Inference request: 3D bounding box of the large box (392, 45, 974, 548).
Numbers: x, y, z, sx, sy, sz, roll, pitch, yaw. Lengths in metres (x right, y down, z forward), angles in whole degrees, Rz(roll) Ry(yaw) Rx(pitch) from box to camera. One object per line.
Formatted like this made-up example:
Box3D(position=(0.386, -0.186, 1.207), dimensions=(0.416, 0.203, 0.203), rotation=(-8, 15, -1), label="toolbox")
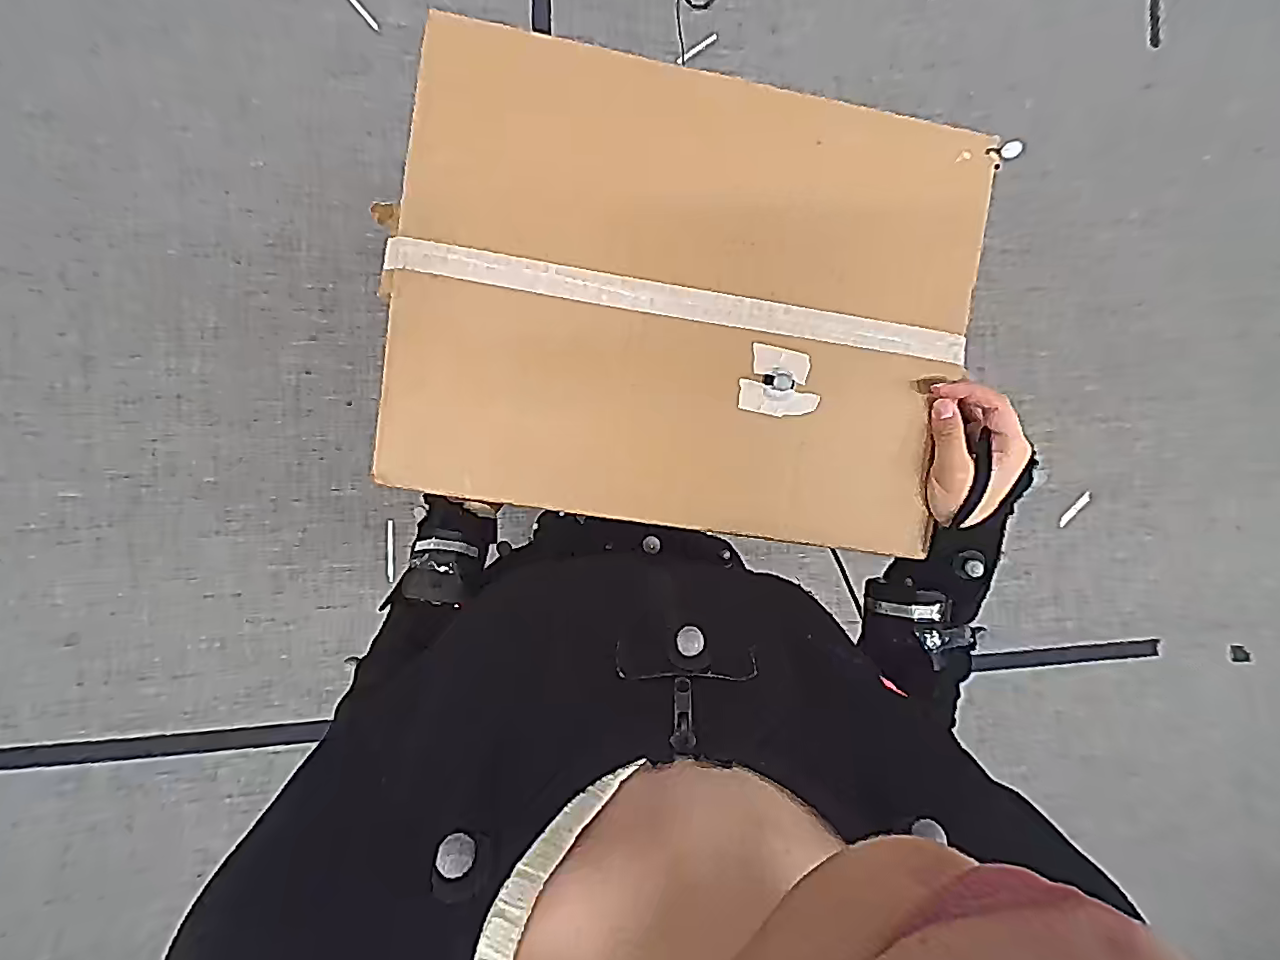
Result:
Box3D(position=(0.021, -0.128, 0.537), dimensions=(0.408, 0.320, 0.320), rotation=(7, 94, -7), label="large box")
